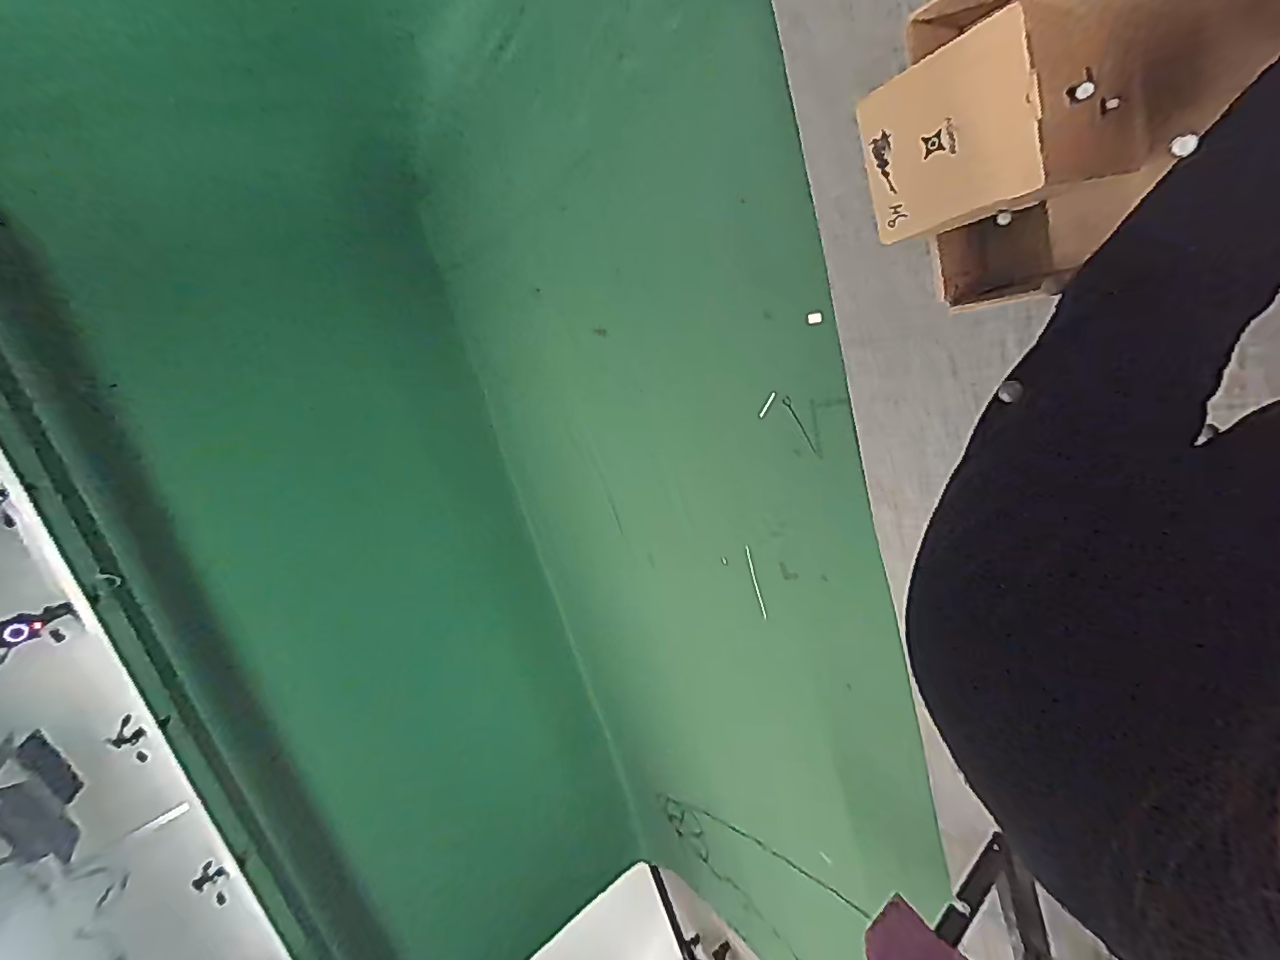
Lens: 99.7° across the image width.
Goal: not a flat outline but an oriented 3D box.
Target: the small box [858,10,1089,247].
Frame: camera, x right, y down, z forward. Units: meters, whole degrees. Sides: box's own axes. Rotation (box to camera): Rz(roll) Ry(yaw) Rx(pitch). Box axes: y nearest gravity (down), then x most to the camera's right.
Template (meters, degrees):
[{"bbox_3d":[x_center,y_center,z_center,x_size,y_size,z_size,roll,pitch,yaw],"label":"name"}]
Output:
[{"bbox_3d":[0.387,-0.389,0.624,0.179,0.176,0.168,2,112,55],"label":"small box"}]
